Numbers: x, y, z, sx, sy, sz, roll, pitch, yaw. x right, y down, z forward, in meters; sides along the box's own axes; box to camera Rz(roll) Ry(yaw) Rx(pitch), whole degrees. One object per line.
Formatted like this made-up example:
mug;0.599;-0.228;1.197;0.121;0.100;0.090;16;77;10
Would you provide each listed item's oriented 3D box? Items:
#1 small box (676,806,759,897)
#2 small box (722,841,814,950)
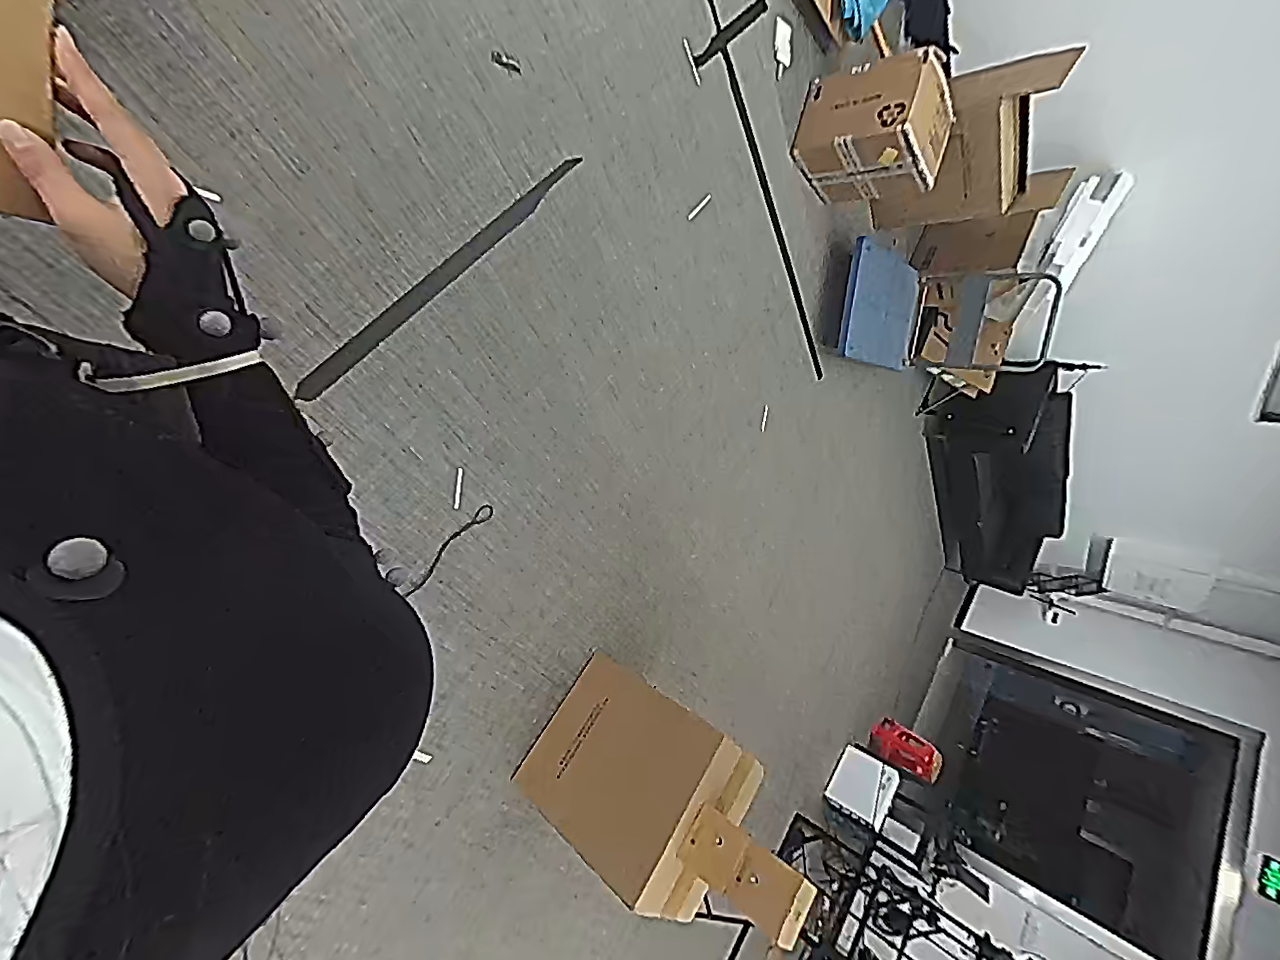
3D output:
small box;0.232;1.103;1.599;0.168;0.176;0.179;-54;134;-23
small box;0.353;1.141;1.492;0.168;0.176;0.179;-52;134;-25
